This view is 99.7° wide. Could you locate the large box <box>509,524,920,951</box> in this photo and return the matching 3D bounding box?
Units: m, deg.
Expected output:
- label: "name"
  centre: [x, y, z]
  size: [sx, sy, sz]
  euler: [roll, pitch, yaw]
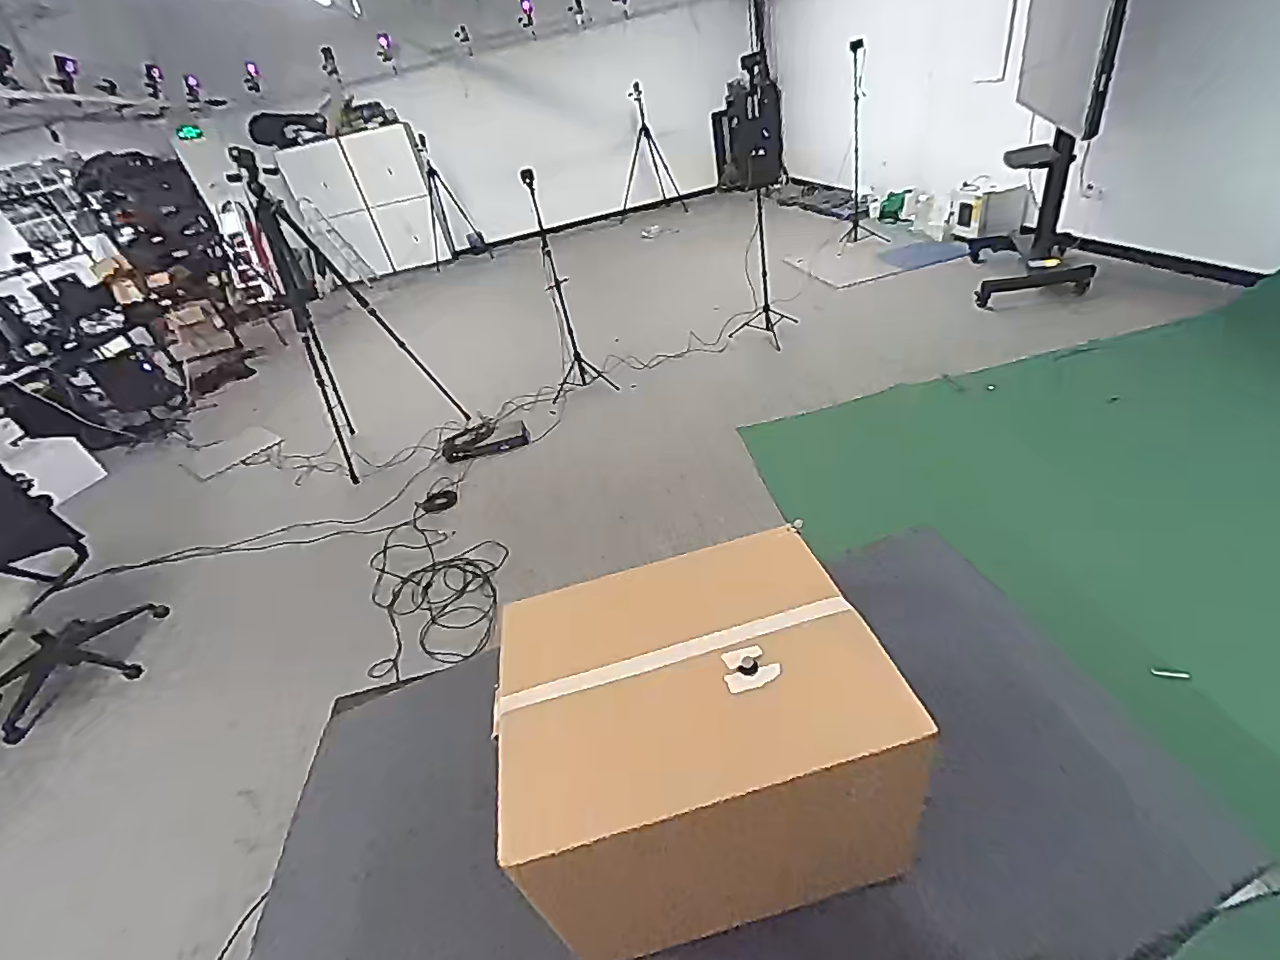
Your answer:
- label: "large box"
  centre: [0.071, 0.314, 0.697]
  size: [0.408, 0.320, 0.320]
  euler: [-15, 35, -3]
